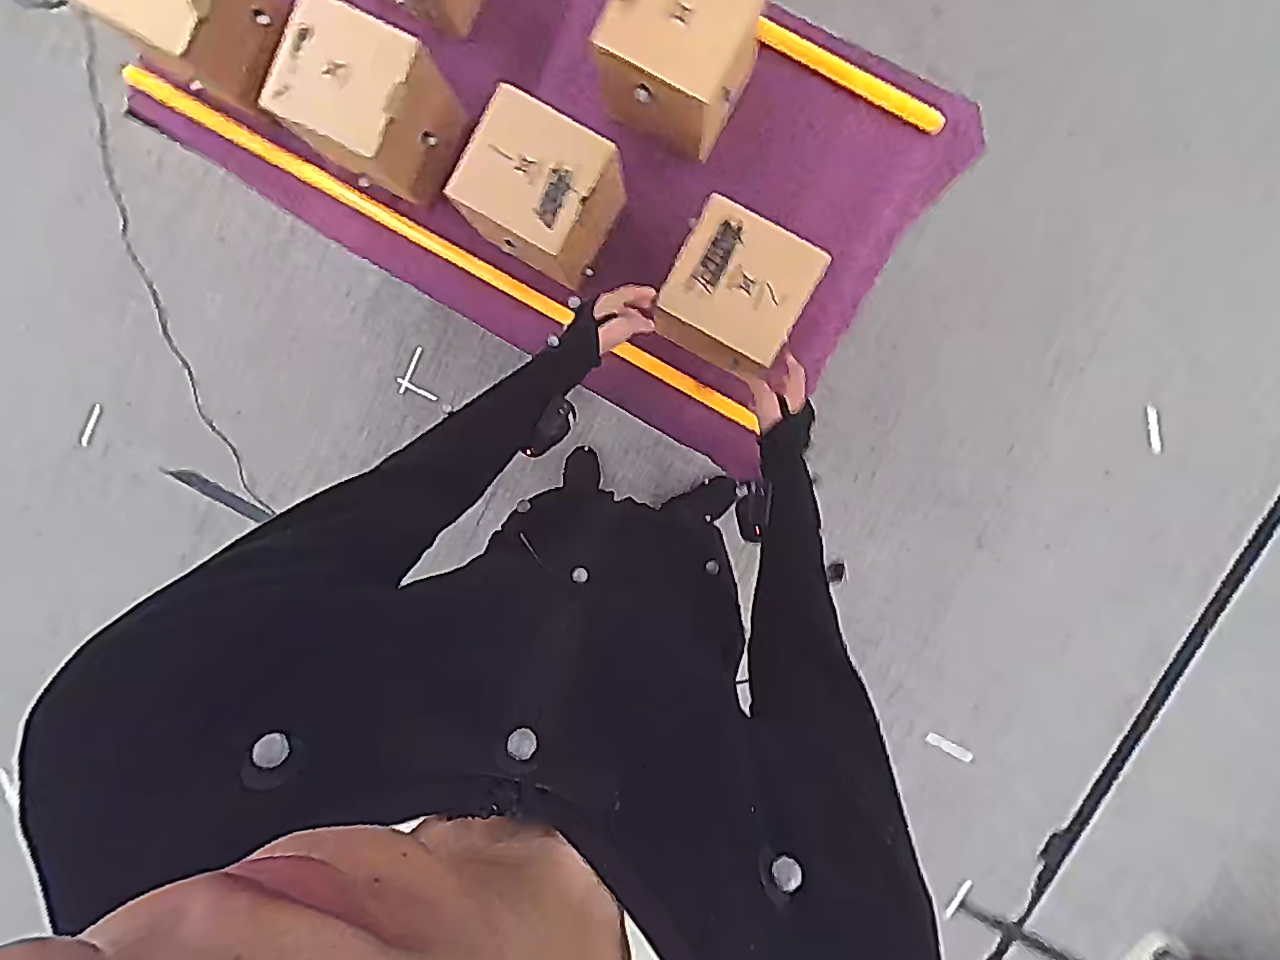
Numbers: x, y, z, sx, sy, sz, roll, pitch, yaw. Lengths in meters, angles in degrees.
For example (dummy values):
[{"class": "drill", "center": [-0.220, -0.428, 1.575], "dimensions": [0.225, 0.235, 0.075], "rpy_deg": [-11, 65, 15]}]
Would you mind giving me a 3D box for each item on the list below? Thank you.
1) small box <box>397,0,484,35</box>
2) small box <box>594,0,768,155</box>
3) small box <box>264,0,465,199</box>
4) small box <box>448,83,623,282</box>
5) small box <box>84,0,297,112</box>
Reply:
[{"class": "small box", "center": [-0.310, -0.808, 0.772], "dimensions": [0.168, 0.176, 0.179], "rpy_deg": [29, 98, 1]}, {"class": "small box", "center": [0.060, -0.602, 0.767], "dimensions": [0.179, 0.176, 0.168], "rpy_deg": [29, 97, 2]}, {"class": "small box", "center": [-0.390, -0.550, 0.800], "dimensions": [0.179, 0.176, 0.168], "rpy_deg": [28, 96, 1]}, {"class": "small box", "center": [-0.139, -0.415, 0.794], "dimensions": [0.179, 0.176, 0.168], "rpy_deg": [31, 94, 2]}, {"class": "small box", "center": [-0.648, -0.695, 0.802], "dimensions": [0.179, 0.176, 0.168], "rpy_deg": [28, 95, -1]}]
